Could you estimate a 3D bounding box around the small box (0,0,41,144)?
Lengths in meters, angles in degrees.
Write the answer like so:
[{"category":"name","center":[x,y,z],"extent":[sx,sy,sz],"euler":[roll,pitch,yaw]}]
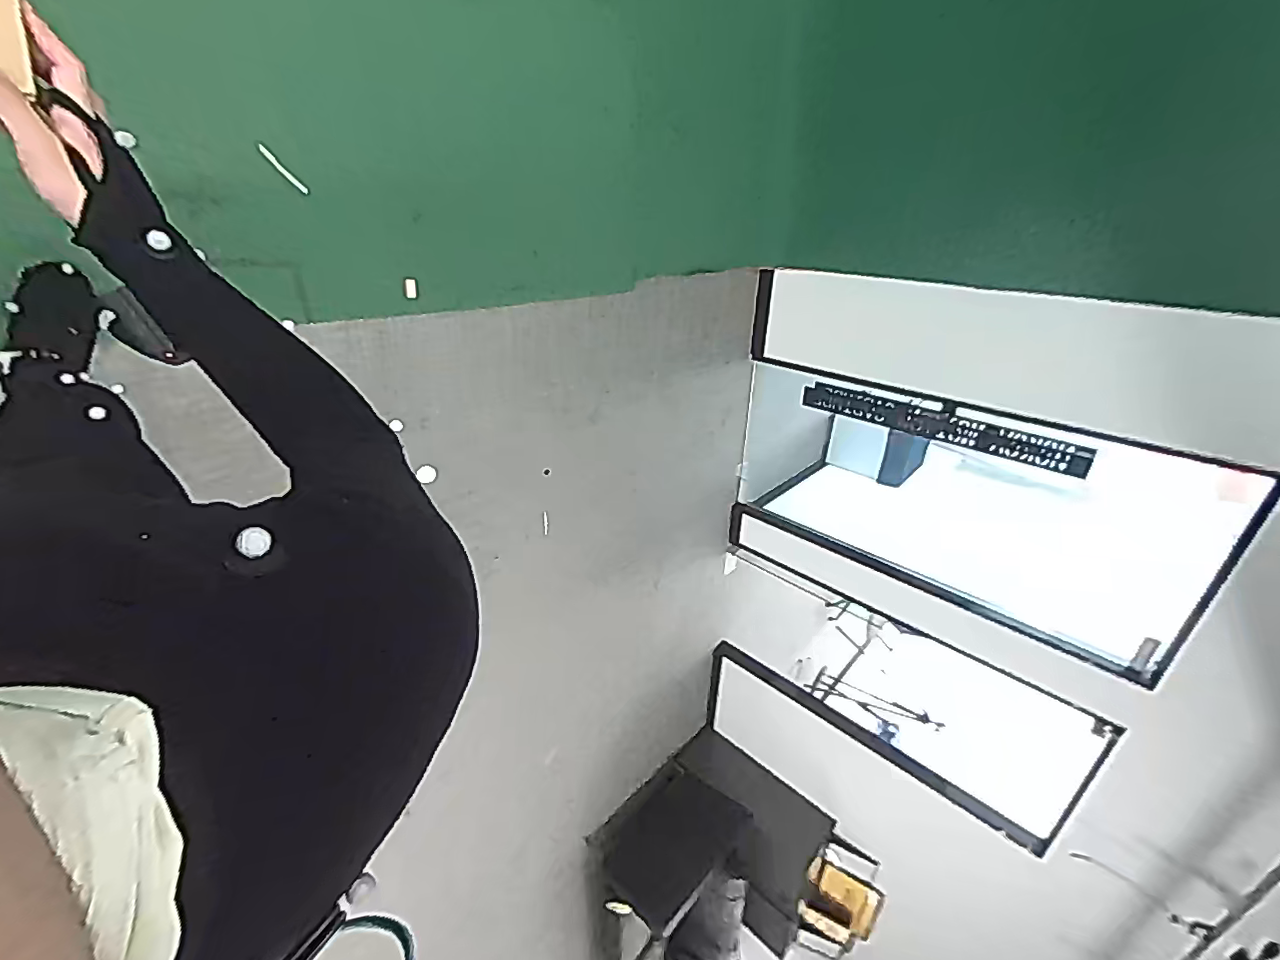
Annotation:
[{"category":"small box","center":[-0.548,-0.356,0.363],"extent":[0.168,0.176,0.179],"euler":[-14,114,-49]}]
